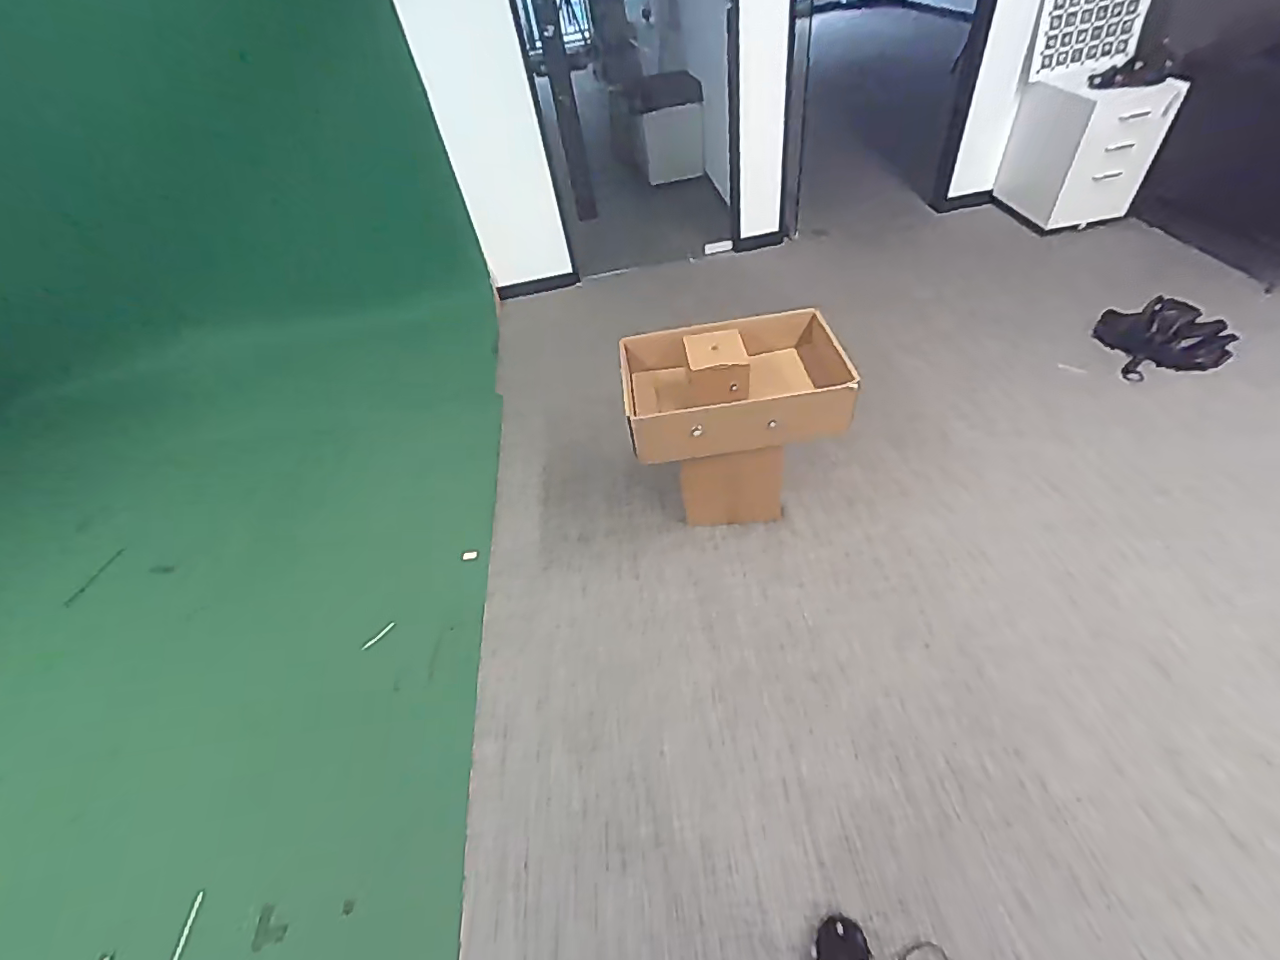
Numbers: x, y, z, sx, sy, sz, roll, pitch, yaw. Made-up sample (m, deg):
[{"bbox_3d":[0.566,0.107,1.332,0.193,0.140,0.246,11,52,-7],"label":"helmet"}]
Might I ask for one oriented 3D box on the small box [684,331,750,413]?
[{"bbox_3d":[0.224,-0.311,1.591,0.168,0.176,0.179,-7,44,0],"label":"small box"}]
